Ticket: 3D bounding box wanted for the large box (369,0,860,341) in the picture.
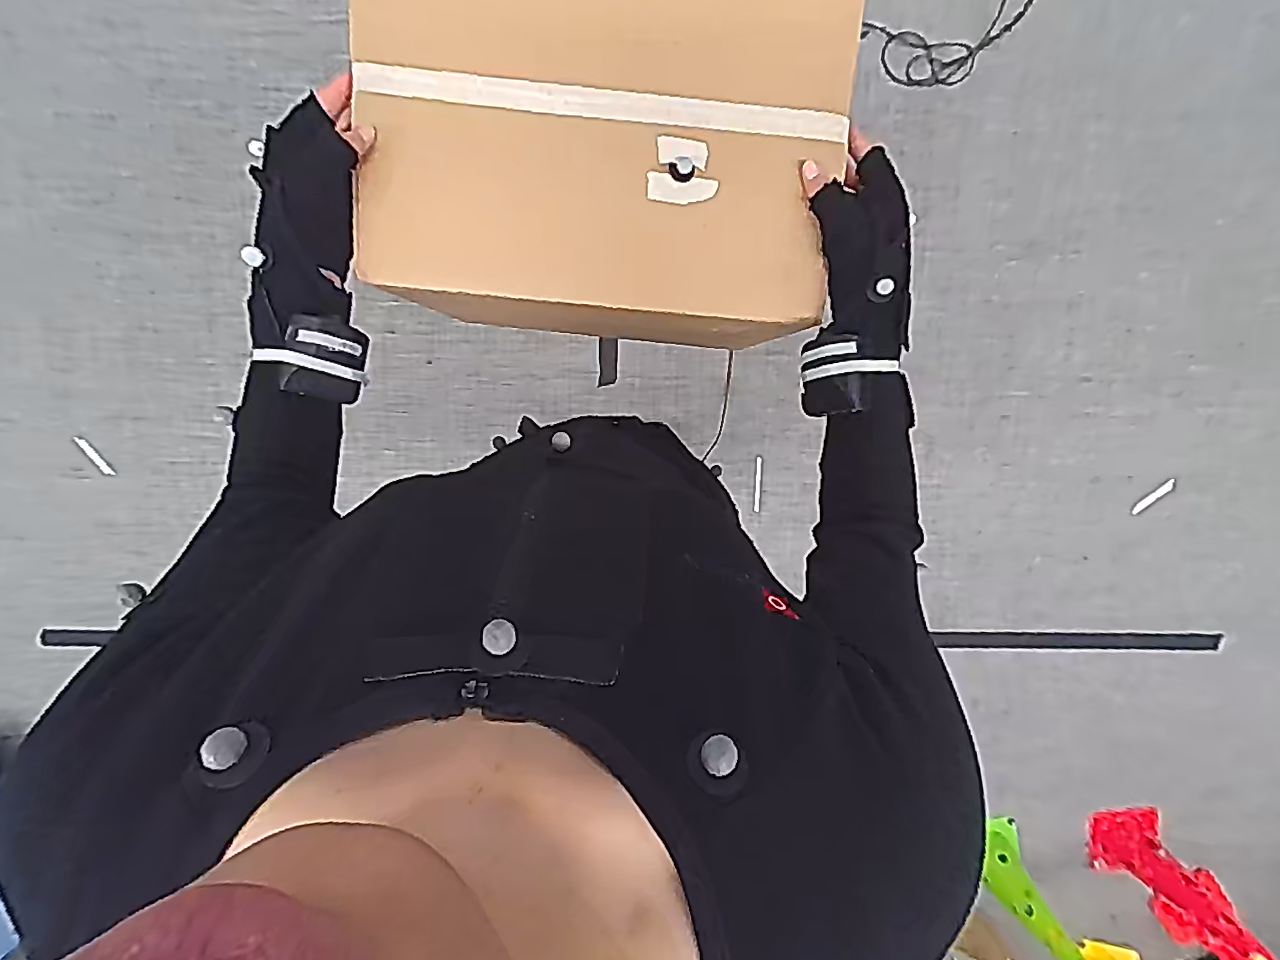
[{"bbox_3d":[-0.031,-0.335,0.596,0.408,0.320,0.320,4,100,-3],"label":"large box"}]
